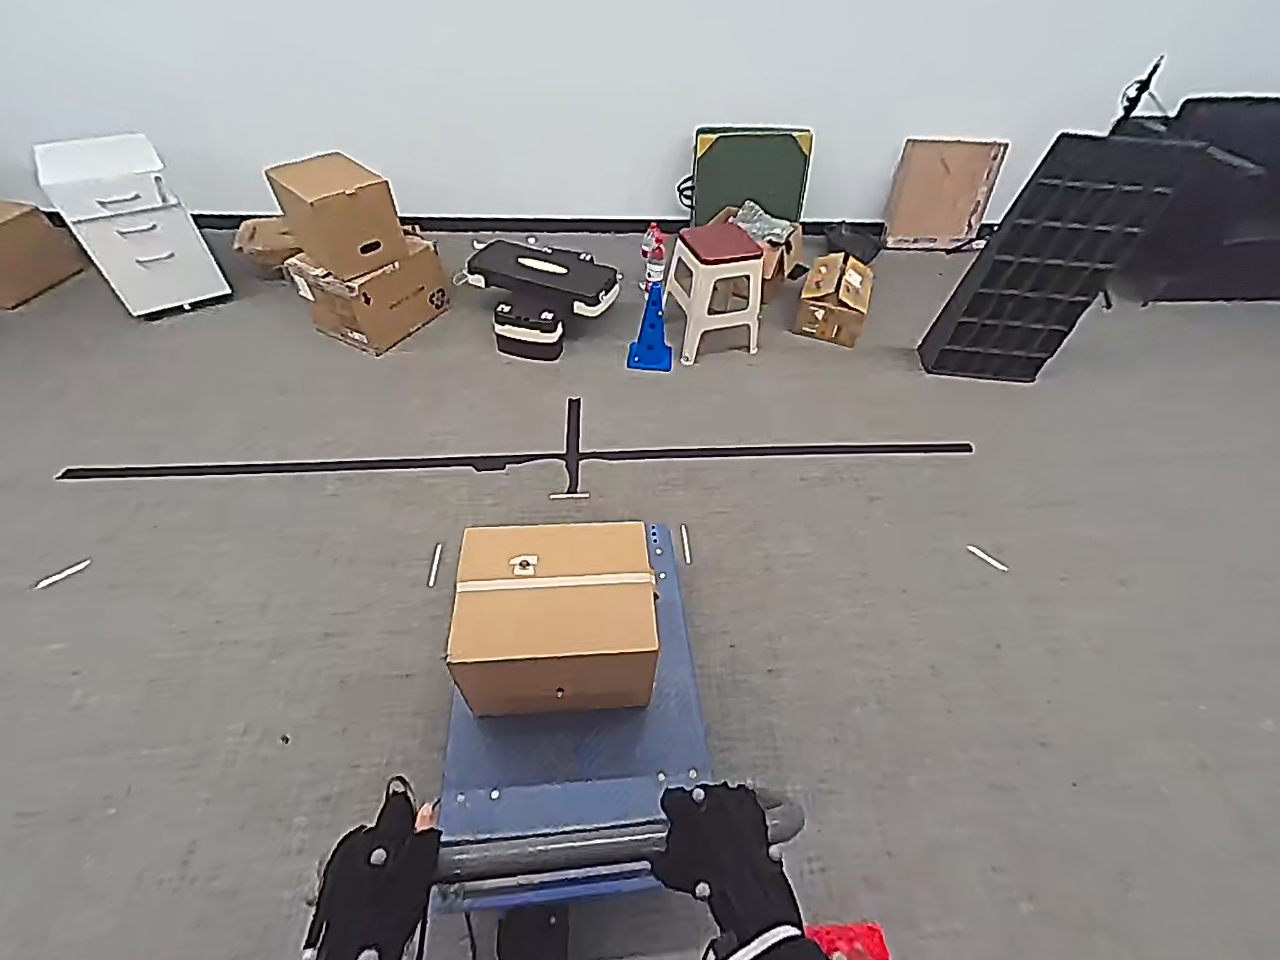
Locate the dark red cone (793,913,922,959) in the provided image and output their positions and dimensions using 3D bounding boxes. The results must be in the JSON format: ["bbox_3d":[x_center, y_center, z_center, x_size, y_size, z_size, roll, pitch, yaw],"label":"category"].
[{"bbox_3d":[0.431,0.882,0.947,0.201,0.394,0.202,0,49,-6],"label":"dark red cone"}]

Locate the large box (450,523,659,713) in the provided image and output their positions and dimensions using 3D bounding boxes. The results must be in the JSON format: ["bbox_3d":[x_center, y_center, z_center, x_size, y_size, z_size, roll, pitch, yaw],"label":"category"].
[{"bbox_3d":[-0.179,0.320,1.240,0.408,0.320,0.320,-2,49,-5],"label":"large box"}]
